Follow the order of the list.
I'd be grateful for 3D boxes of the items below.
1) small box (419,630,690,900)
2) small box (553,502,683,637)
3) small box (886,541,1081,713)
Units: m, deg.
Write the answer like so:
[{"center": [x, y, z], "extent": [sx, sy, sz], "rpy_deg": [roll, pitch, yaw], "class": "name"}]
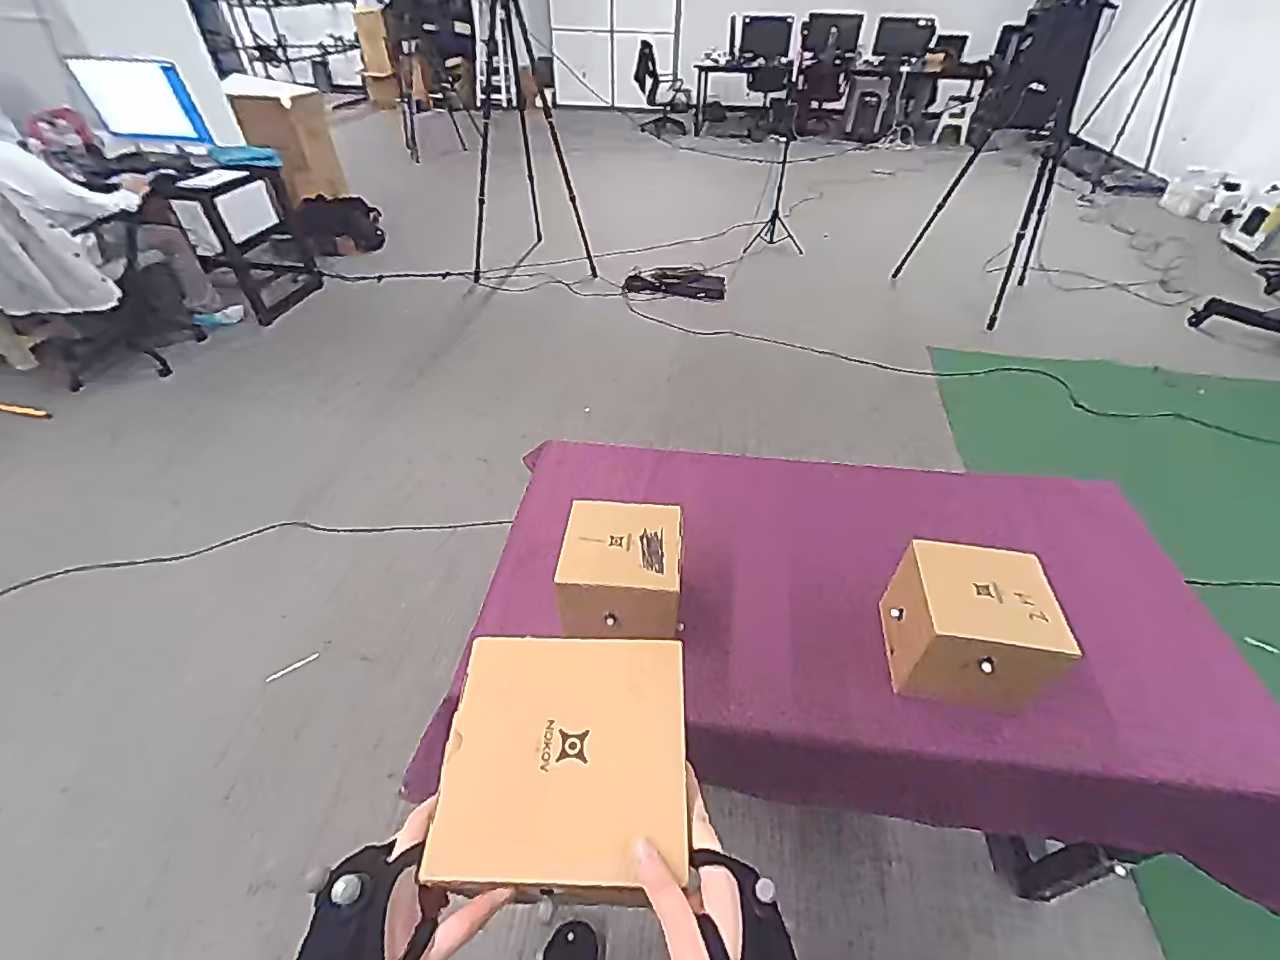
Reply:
[{"center": [-0.051, 0.242, 0.455], "extent": [0.179, 0.176, 0.168], "rpy_deg": [0, 48, 2], "class": "small box"}, {"center": [-0.026, 0.155, 0.848], "extent": [0.179, 0.176, 0.168], "rpy_deg": [2, 42, 4], "class": "small box"}, {"center": [0.473, 0.214, 0.785], "extent": [0.179, 0.176, 0.168], "rpy_deg": [8, 43, 8], "class": "small box"}]
